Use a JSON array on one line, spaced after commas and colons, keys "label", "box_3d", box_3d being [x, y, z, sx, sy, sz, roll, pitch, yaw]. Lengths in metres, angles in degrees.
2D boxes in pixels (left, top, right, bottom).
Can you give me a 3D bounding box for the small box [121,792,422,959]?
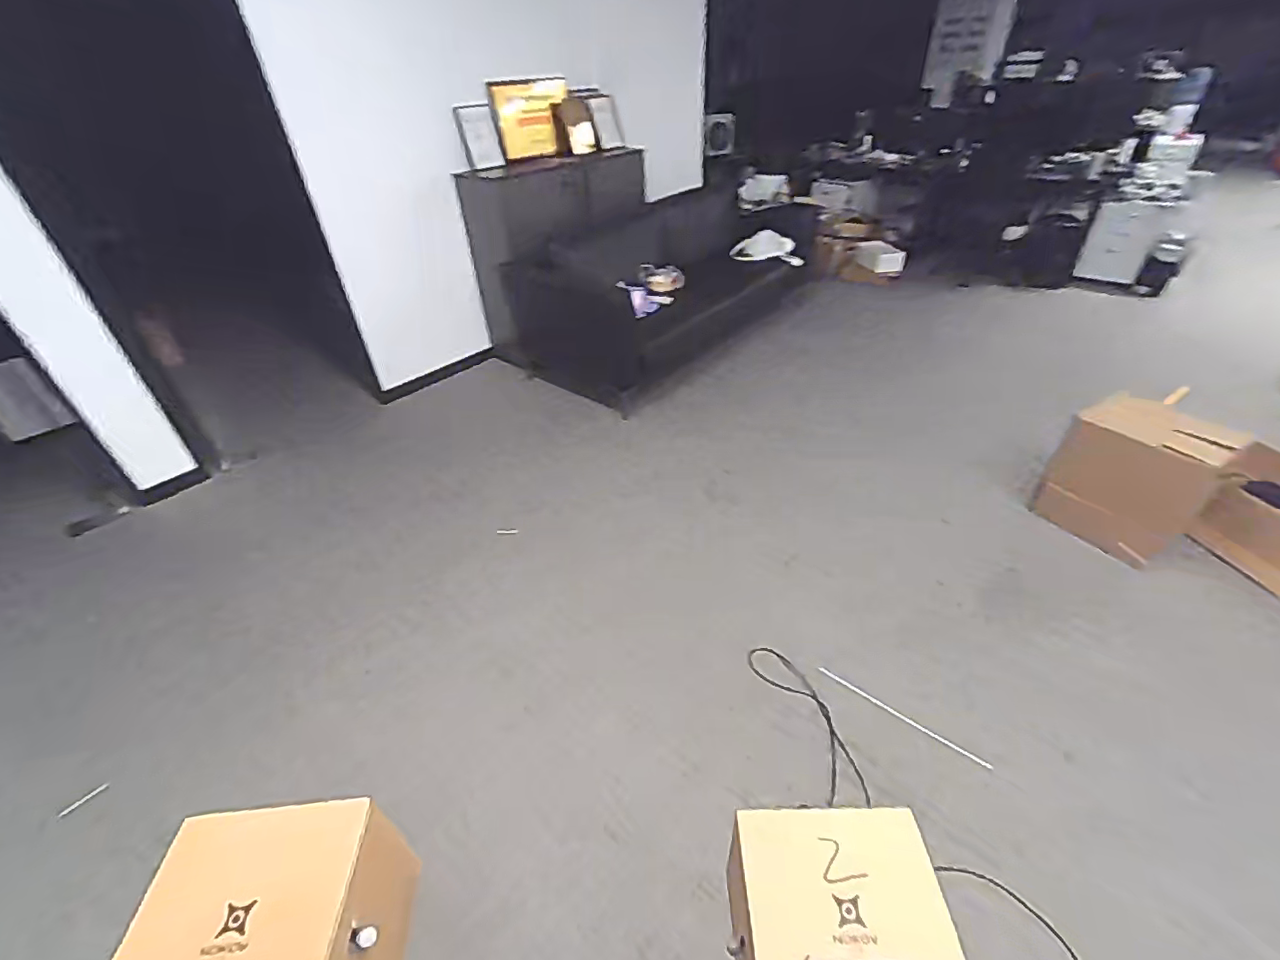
[{"label": "small box", "box_3d": [-0.309, 0.408, 0.477, 0.168, 0.176, 0.179, -4, 38, -2]}]
